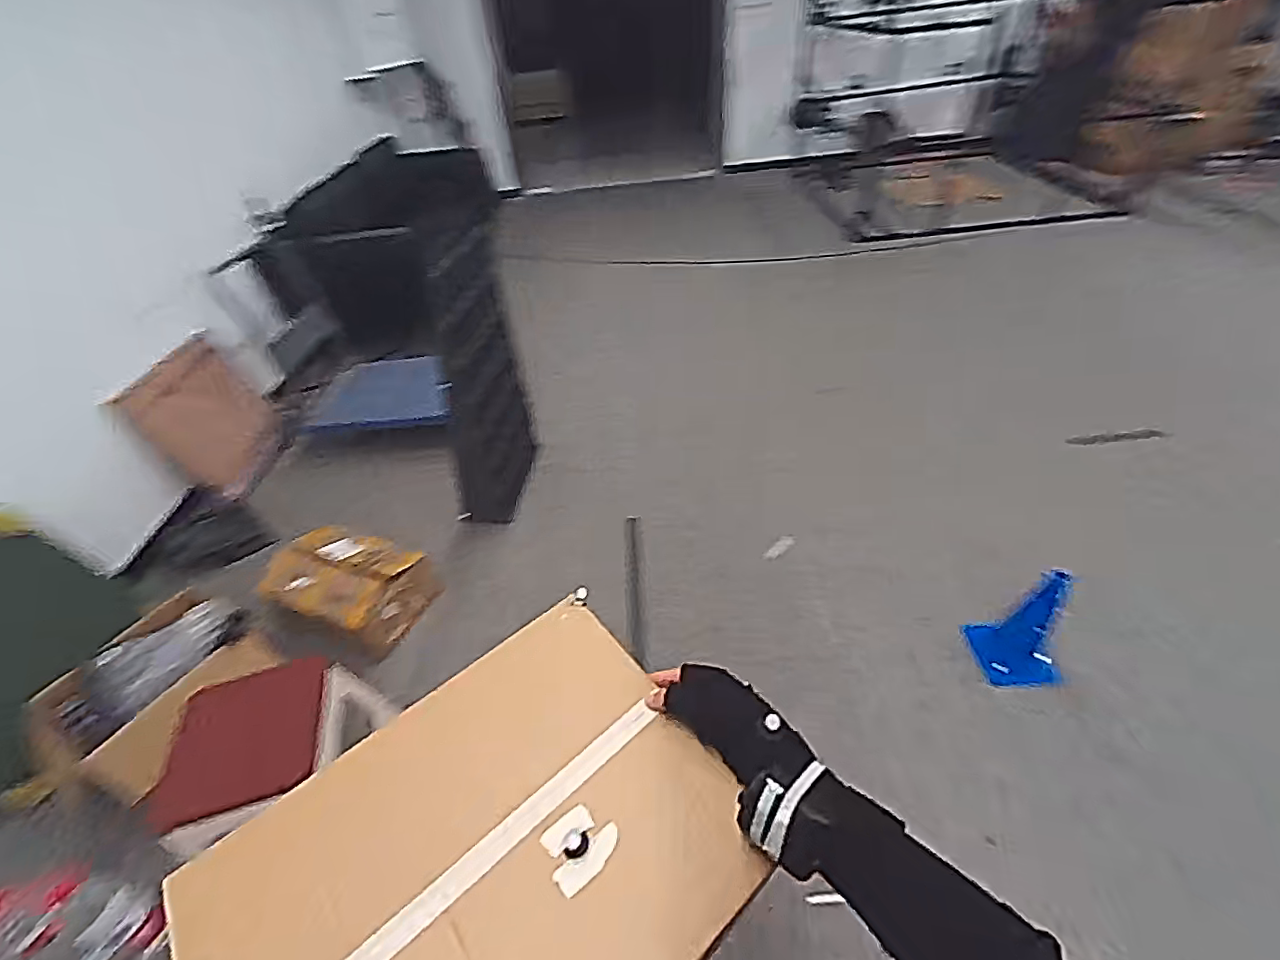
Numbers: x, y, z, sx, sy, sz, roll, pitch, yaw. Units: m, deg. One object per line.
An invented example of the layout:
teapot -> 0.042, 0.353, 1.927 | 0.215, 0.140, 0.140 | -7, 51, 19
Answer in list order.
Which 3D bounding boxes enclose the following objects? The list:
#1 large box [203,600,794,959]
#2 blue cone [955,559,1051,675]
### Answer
large box -> -0.110, 0.414, 0.549 | 0.408, 0.320, 0.320 | -31, 51, -25
blue cone -> 1.041, 0.361, 1.482 | 0.193, 0.380, 0.192 | -3, 40, 3
